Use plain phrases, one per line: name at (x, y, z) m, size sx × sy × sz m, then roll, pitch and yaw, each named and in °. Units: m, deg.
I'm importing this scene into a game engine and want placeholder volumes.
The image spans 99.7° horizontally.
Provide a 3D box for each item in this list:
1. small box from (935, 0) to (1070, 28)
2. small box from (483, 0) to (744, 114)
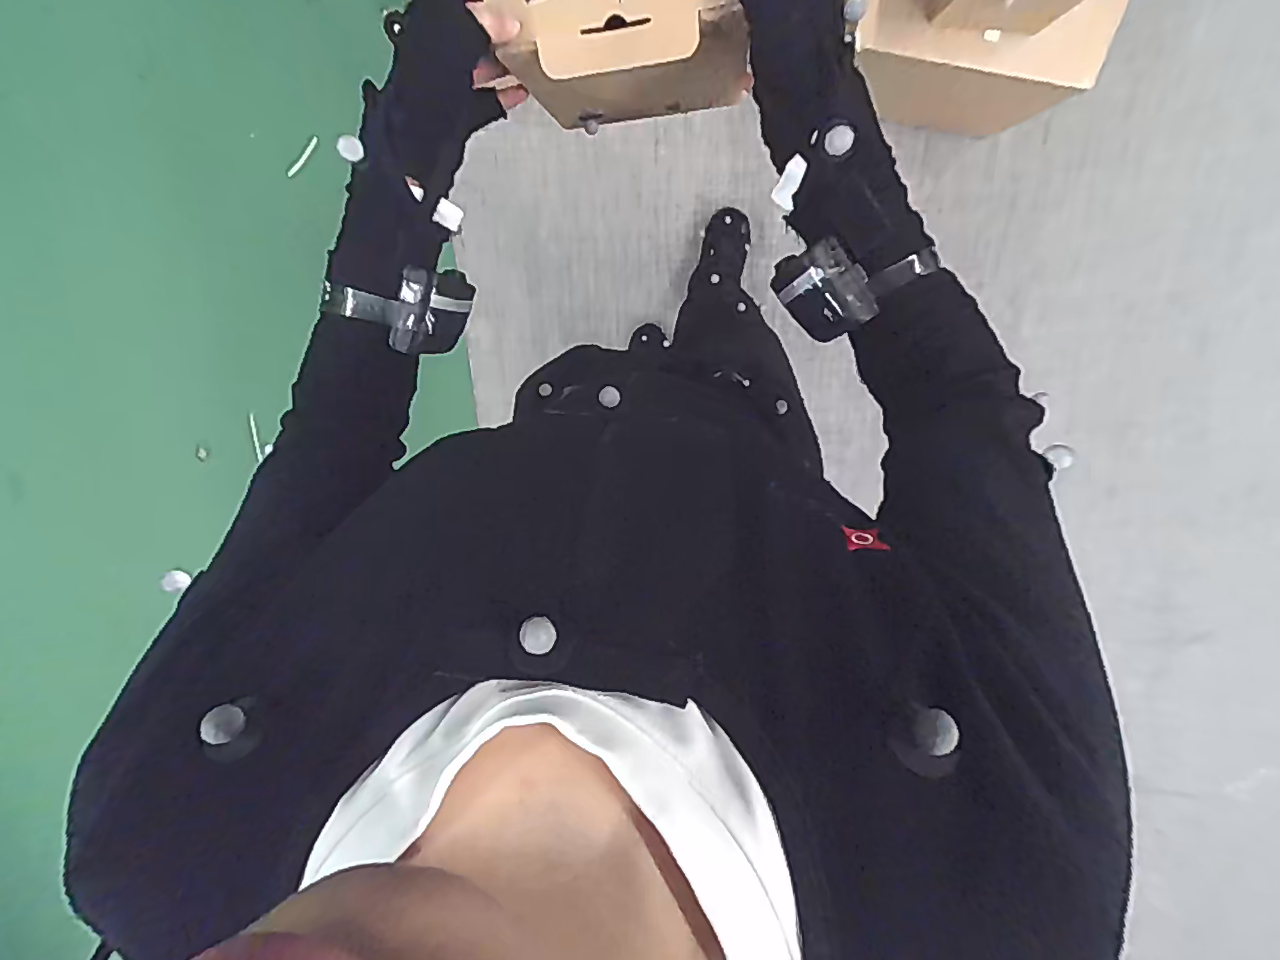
small box at (0.549, -0.772, 0.758) m, size 0.179 × 0.176 × 0.168 m, roll 6°, pitch 110°, yaw 3°
small box at (-0.011, -0.388, 0.384) m, size 0.168 × 0.176 × 0.179 m, roll -2°, pitch 107°, yaw 10°
